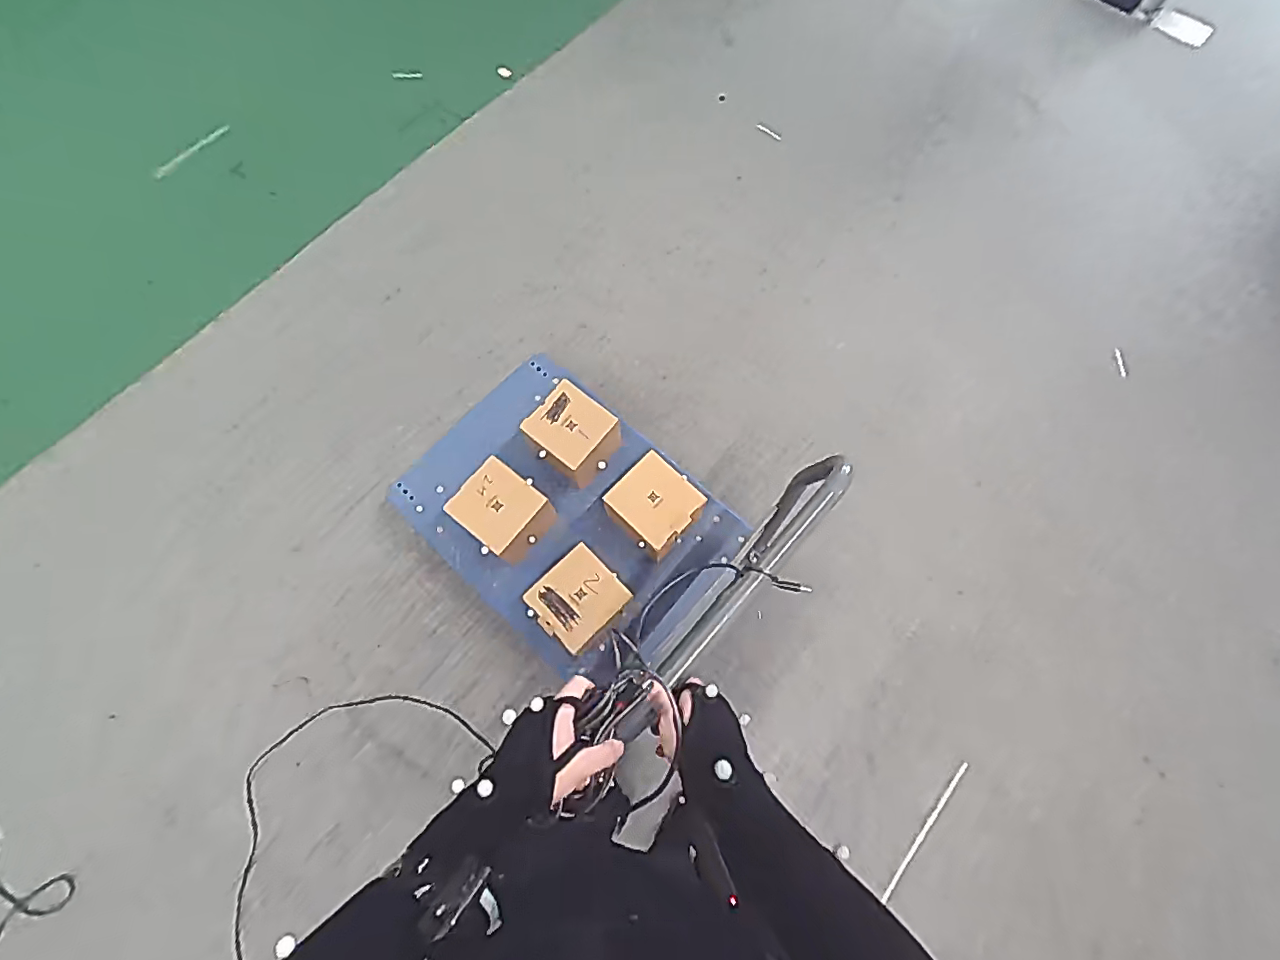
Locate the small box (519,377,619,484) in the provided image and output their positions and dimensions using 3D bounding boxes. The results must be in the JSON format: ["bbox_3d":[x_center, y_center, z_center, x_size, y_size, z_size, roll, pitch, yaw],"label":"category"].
[{"bbox_3d":[-0.169,-0.115,1.345,0.179,0.176,0.168,38,77,10],"label":"small box"}]

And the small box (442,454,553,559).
[{"bbox_3d":[-0.327,0.072,1.286,0.179,0.176,0.168,38,75,11],"label":"small box"}]

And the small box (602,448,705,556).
[{"bbox_3d":[0.028,0.061,1.290,0.179,0.176,0.168,43,77,12],"label":"small box"}]
